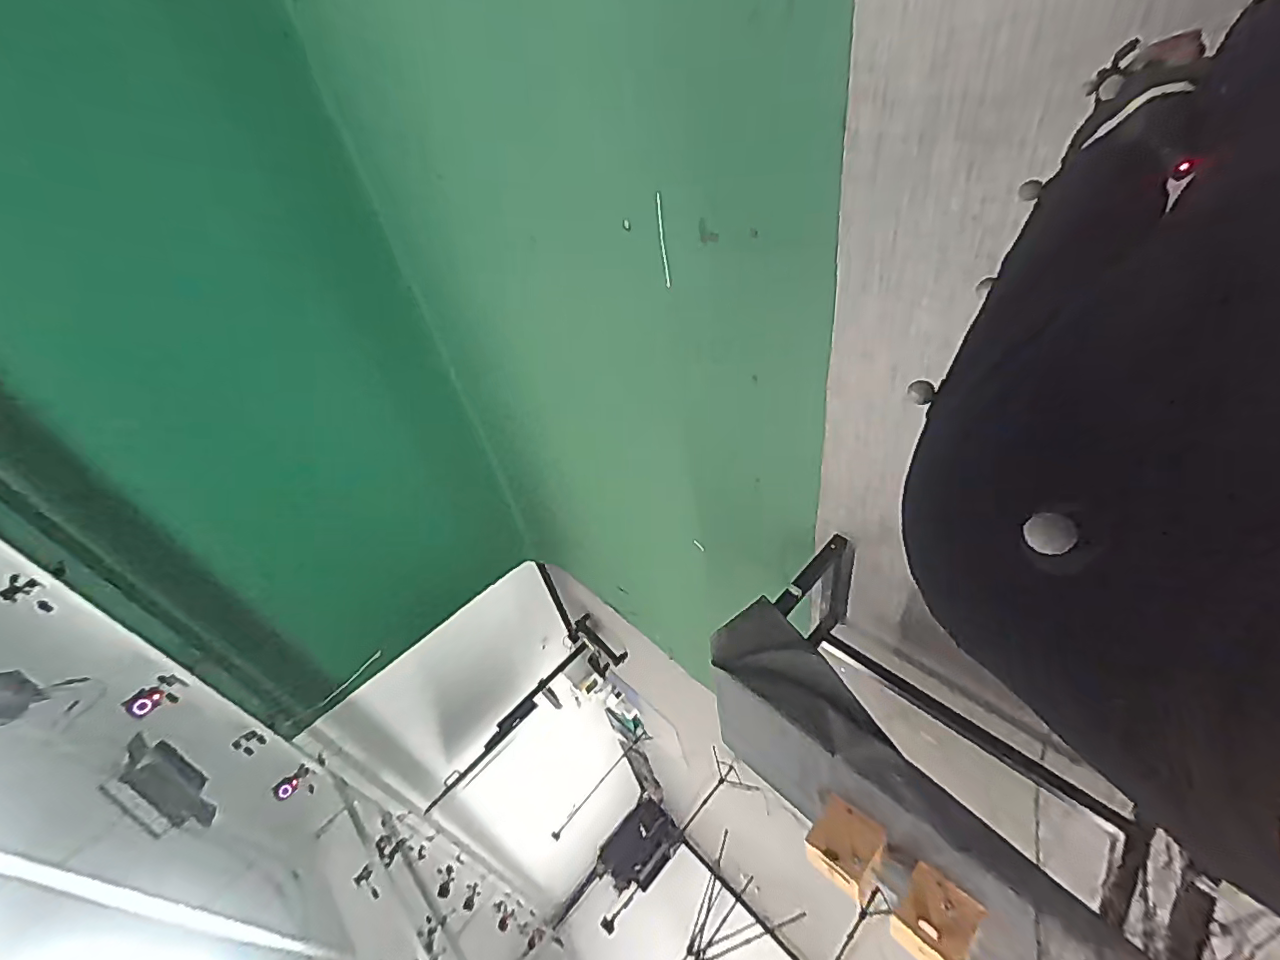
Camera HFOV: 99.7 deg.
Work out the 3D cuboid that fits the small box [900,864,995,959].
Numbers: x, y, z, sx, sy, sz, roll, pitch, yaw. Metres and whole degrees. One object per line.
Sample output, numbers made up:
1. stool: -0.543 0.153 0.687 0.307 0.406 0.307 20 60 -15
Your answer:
1. small box: 0.800 1.160 1.411 0.168 0.176 0.179 23 141 44
